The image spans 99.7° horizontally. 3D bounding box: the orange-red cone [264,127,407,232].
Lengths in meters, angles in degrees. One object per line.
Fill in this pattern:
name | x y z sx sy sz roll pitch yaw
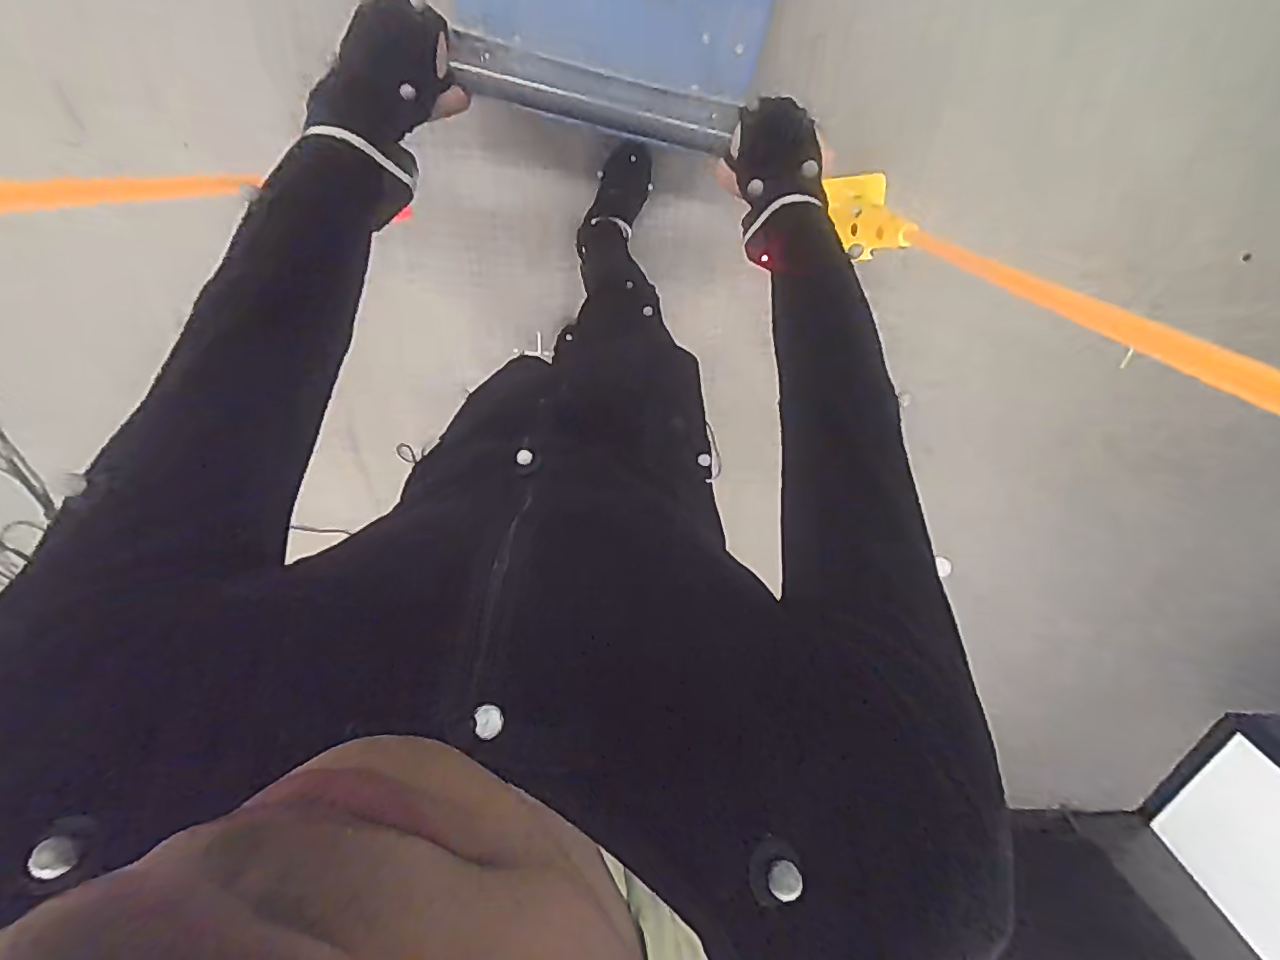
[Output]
orange-red cone | -0.656 -0.611 1.110 0.199 0.360 0.198 -9 120 3
